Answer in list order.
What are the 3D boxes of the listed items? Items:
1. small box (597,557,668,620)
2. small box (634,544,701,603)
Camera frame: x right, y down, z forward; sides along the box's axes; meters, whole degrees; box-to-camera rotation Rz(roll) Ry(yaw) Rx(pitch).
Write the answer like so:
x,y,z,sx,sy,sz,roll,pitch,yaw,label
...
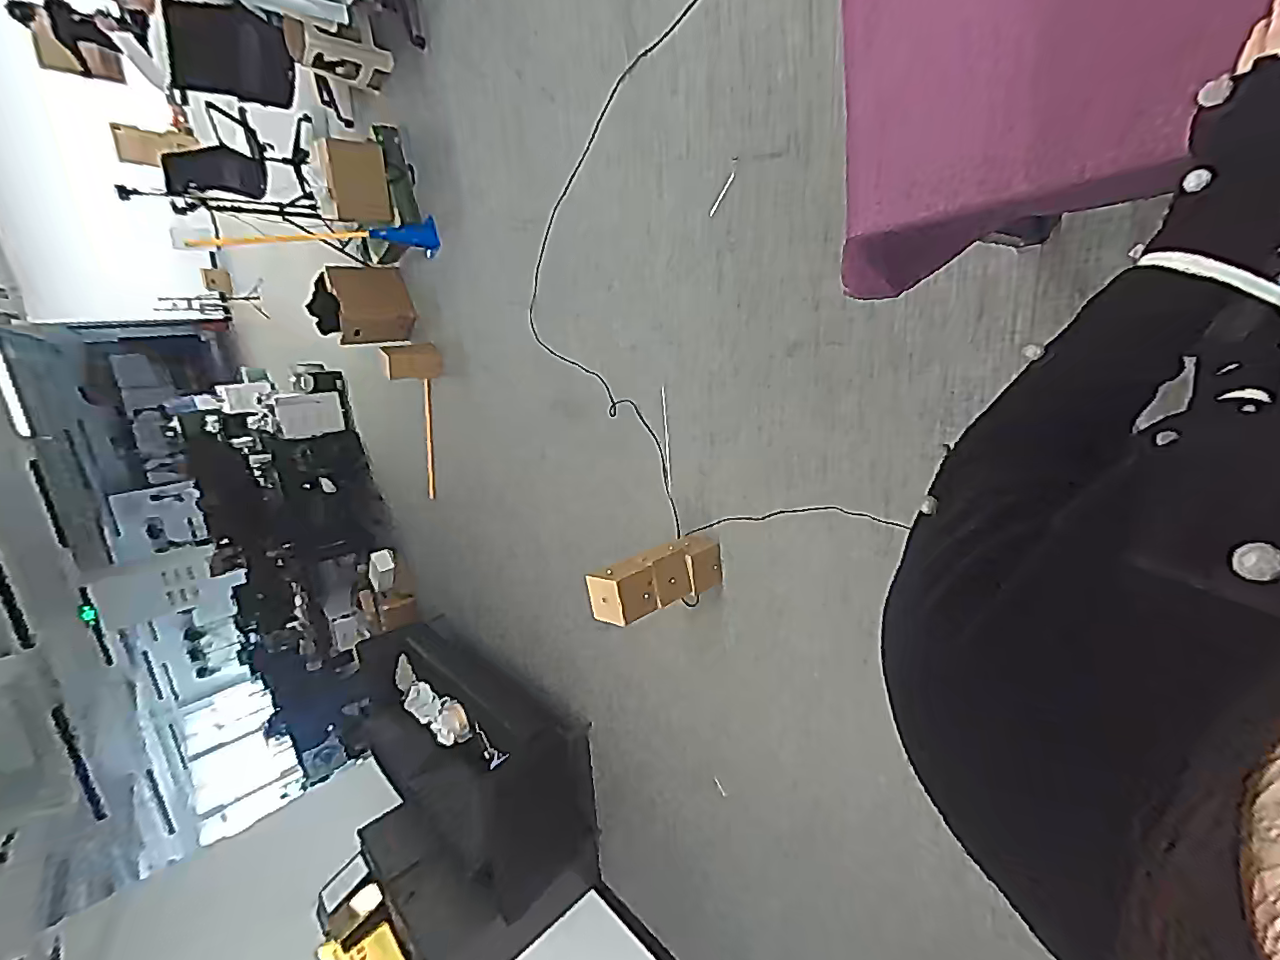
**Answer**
x,y,z,sx,sy,sz,roll,pitch,yaw,label
-0.026,0.384,1.952,0.179,0.176,0.168,-1,102,50,small box
0.105,0.347,2.043,0.168,0.176,0.179,-6,99,51,small box
